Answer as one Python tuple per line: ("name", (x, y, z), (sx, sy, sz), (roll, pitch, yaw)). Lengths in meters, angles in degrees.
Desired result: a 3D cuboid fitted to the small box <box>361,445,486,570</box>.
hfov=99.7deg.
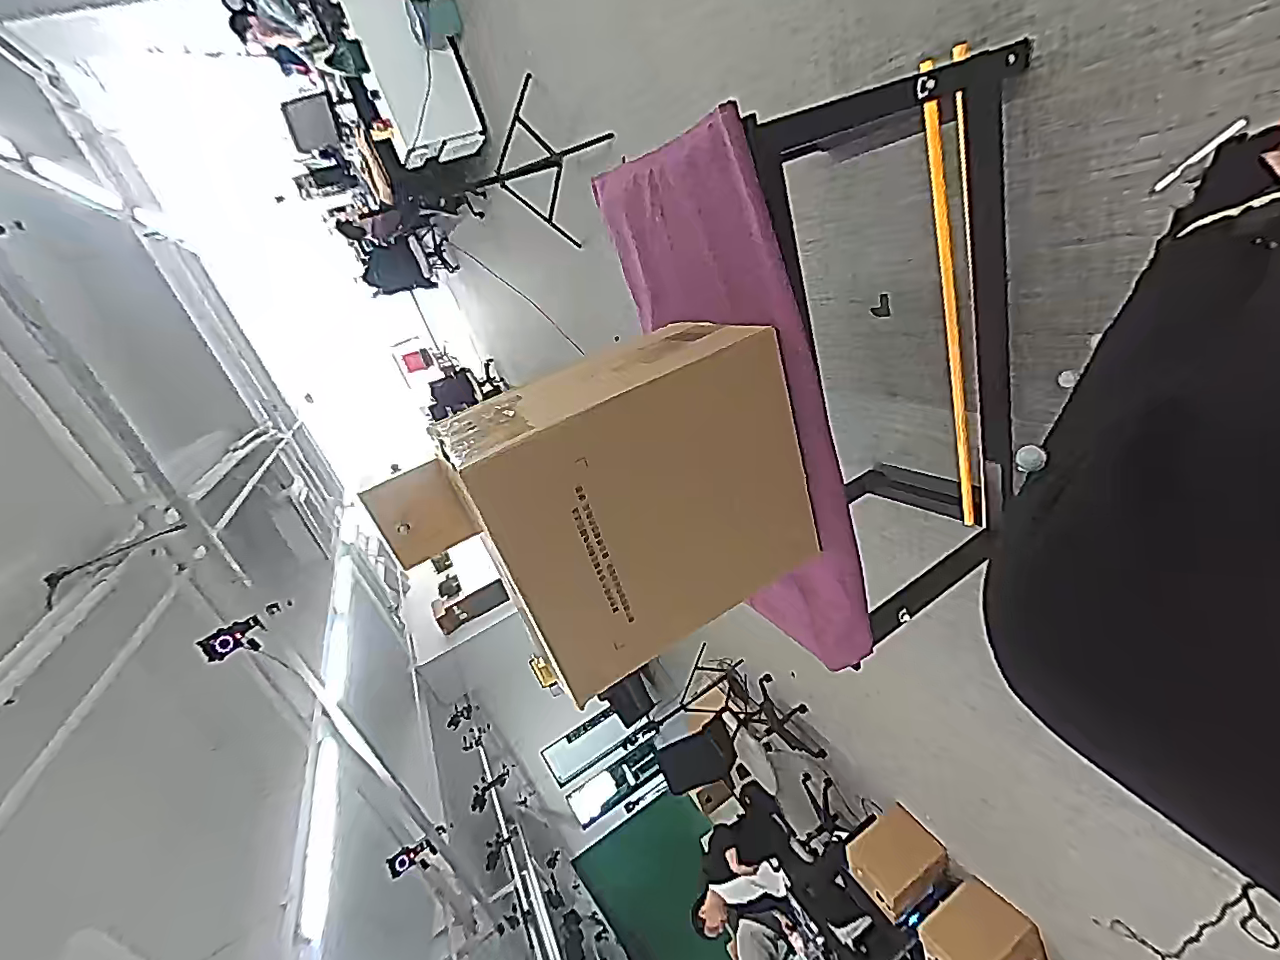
("small box", (-0.434, 0.046, 1.089), (0.168, 0.176, 0.179), (24, 140, 63))
